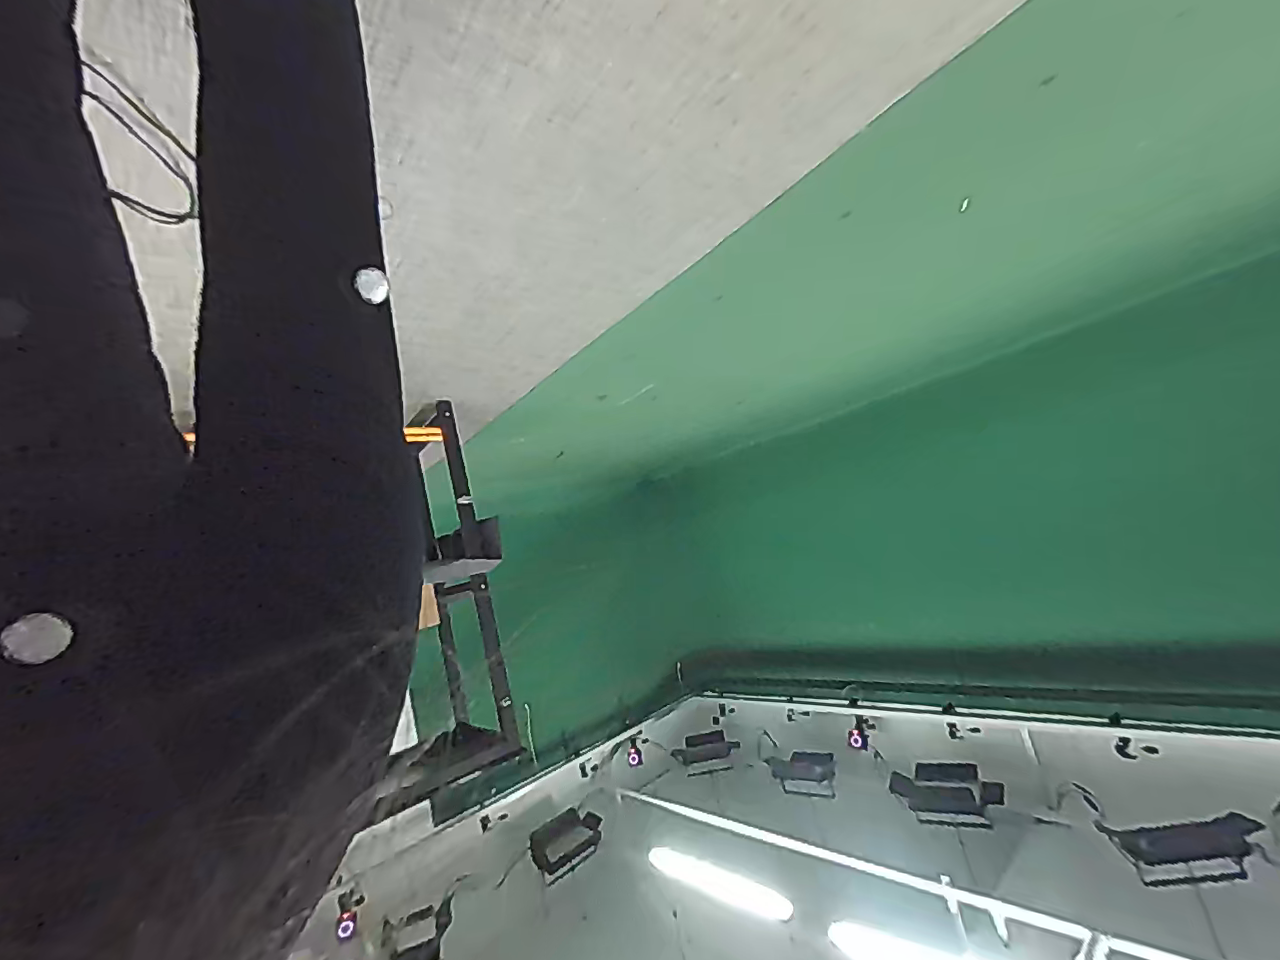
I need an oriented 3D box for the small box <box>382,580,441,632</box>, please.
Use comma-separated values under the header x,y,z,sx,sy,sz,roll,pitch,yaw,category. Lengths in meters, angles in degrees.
x,y,z,sx,sy,sz,roll,pitch,yaw,category
-0.912,0.498,2.149,0.168,0.176,0.179,-9,172,-38,small box
